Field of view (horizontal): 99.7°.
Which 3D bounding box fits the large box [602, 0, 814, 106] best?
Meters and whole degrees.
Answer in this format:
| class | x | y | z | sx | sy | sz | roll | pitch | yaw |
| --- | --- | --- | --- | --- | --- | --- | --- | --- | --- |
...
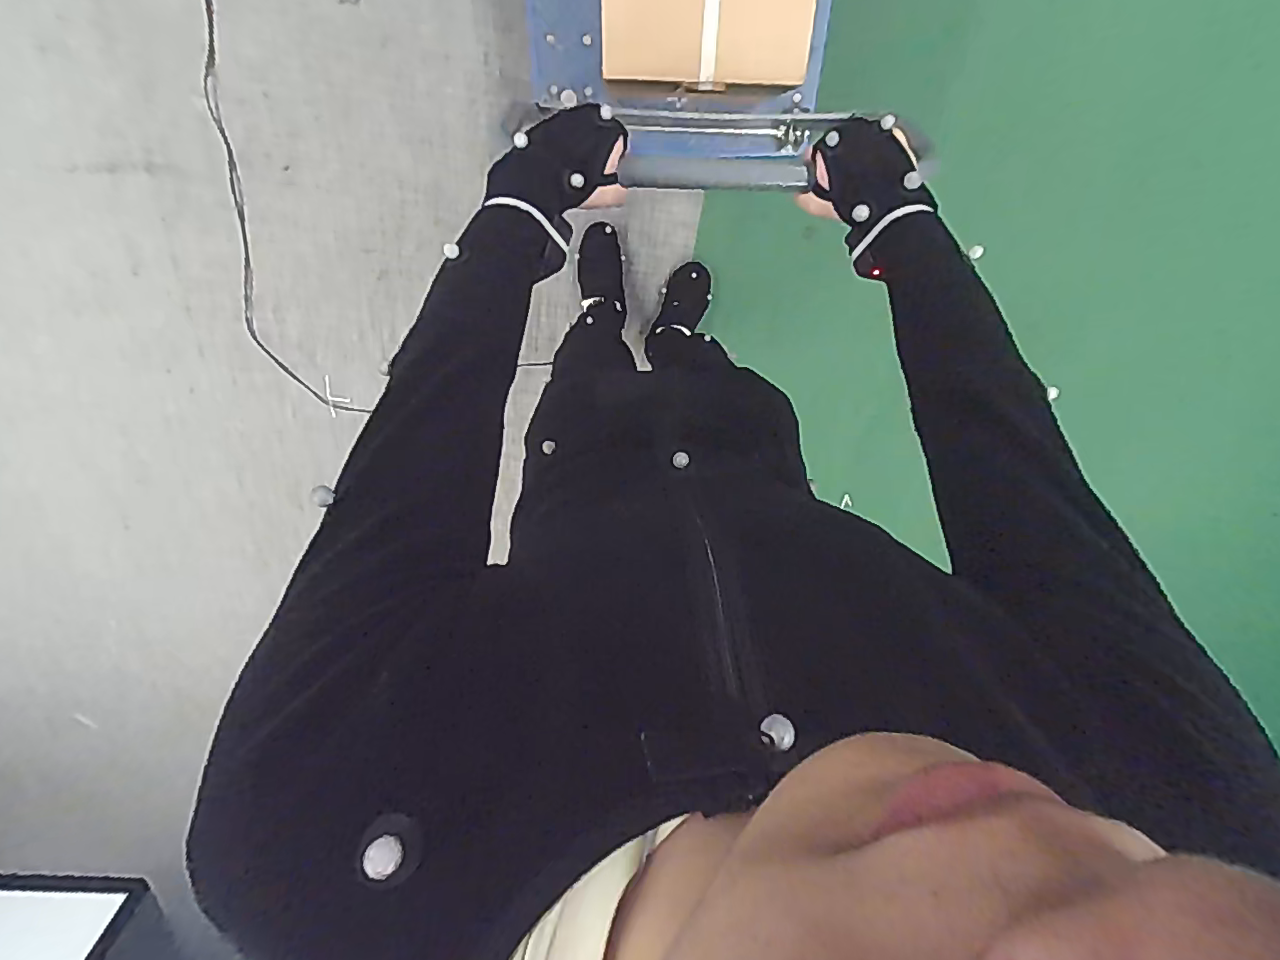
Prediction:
| class | x | y | z | sx | sy | sz | roll | pitch | yaw |
| --- | --- | --- | --- | --- | --- | --- | --- | --- | --- |
| large box | 0.099 | -0.854 | 0.866 | 0.320 | 0.320 | 0.408 | 0 | 120 | -3 |
